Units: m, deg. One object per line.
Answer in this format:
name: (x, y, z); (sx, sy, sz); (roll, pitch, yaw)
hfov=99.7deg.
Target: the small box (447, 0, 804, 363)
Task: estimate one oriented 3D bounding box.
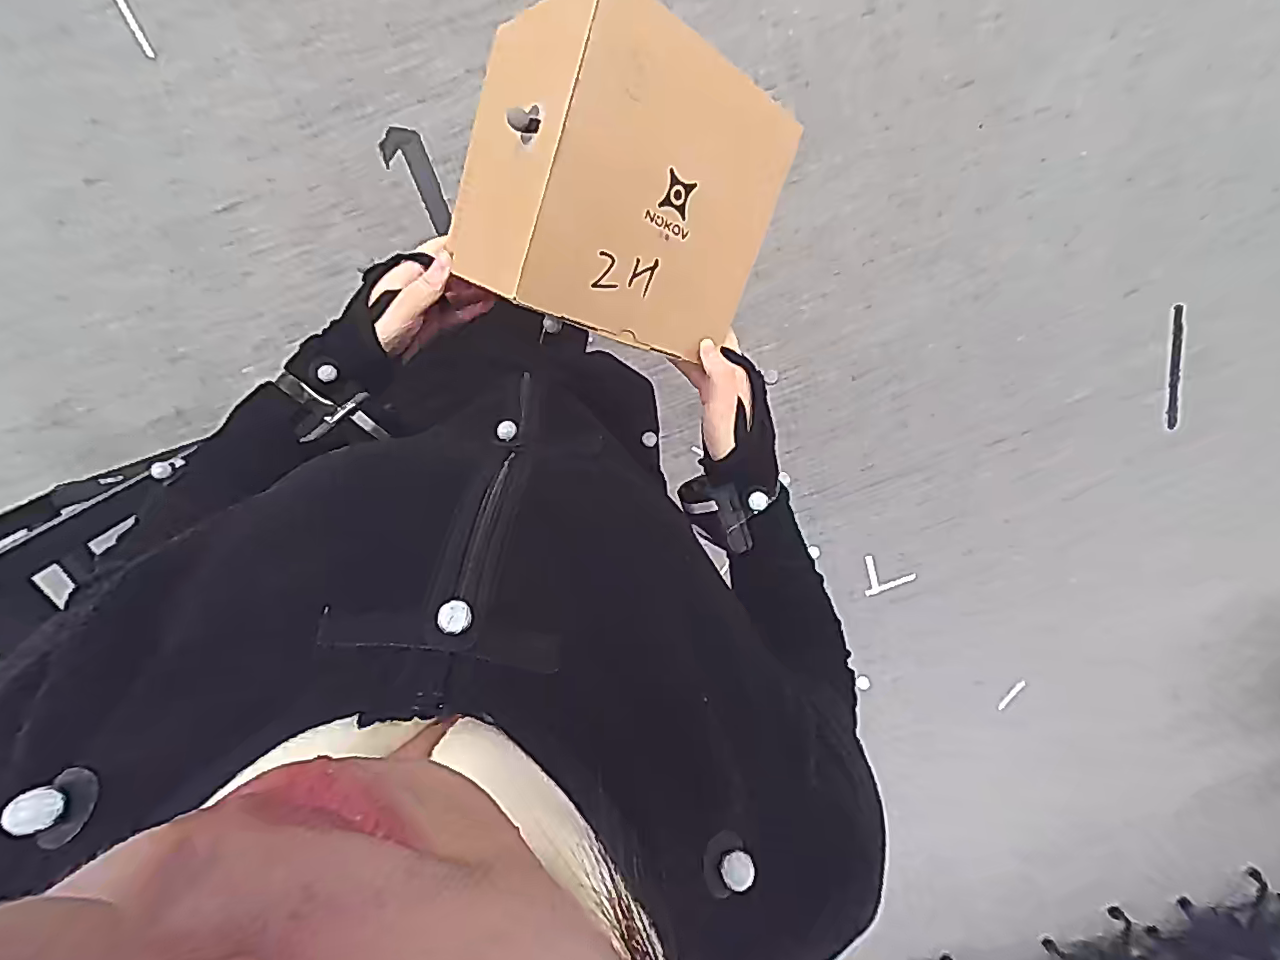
small box: (-0.023, -0.207, 0.390); (0.168, 0.176, 0.179); (9, 109, -38)
